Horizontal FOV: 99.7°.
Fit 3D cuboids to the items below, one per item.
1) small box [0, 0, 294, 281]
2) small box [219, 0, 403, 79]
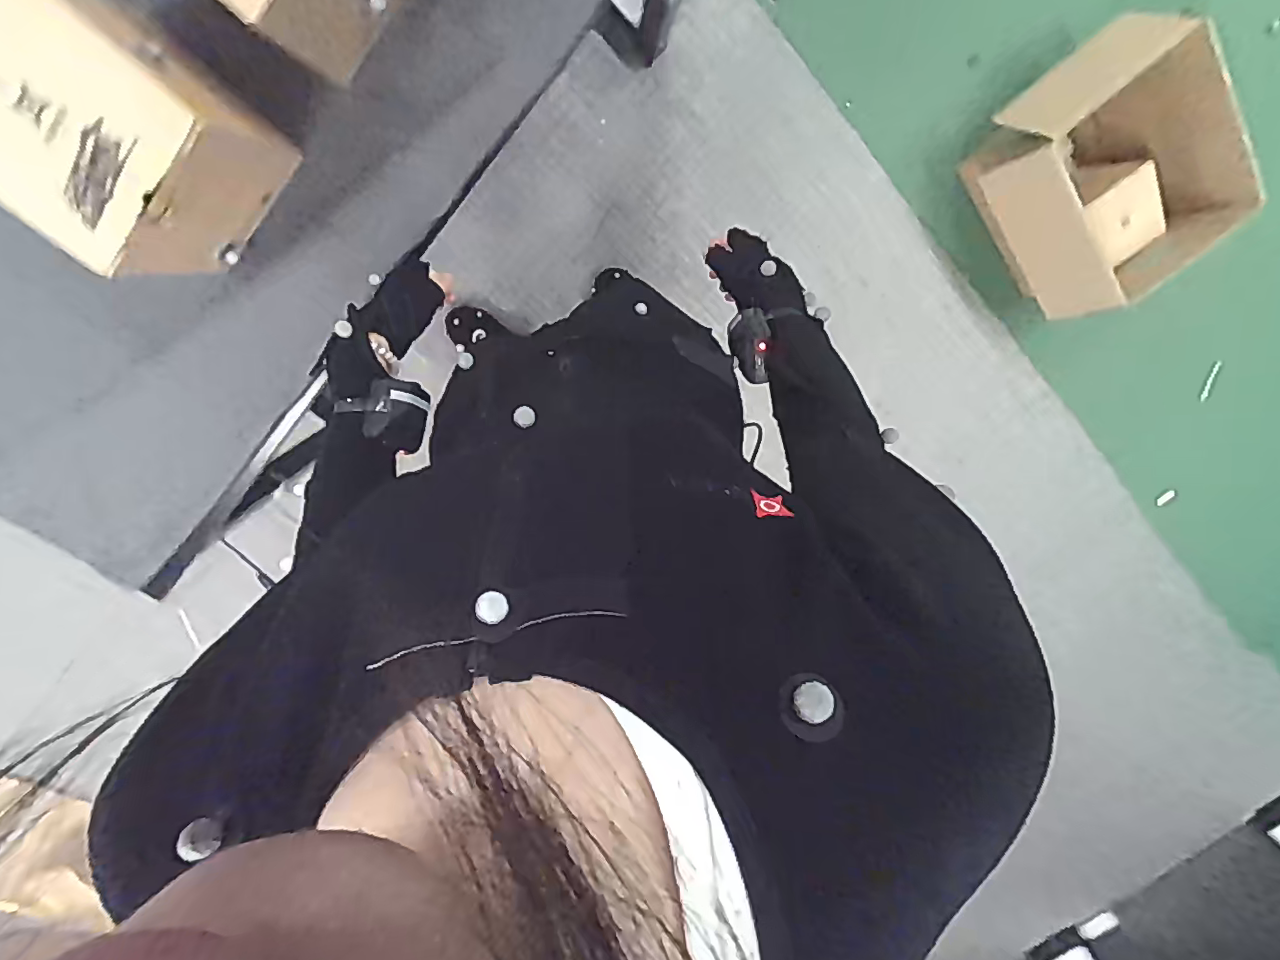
[{"bbox_3d":[-0.472,-0.311,0.499,0.179,0.176,0.168,41,103,-17],"label":"small box"},{"bbox_3d":[-0.311,-0.483,0.444,0.179,0.176,0.168,39,105,-18],"label":"small box"}]
